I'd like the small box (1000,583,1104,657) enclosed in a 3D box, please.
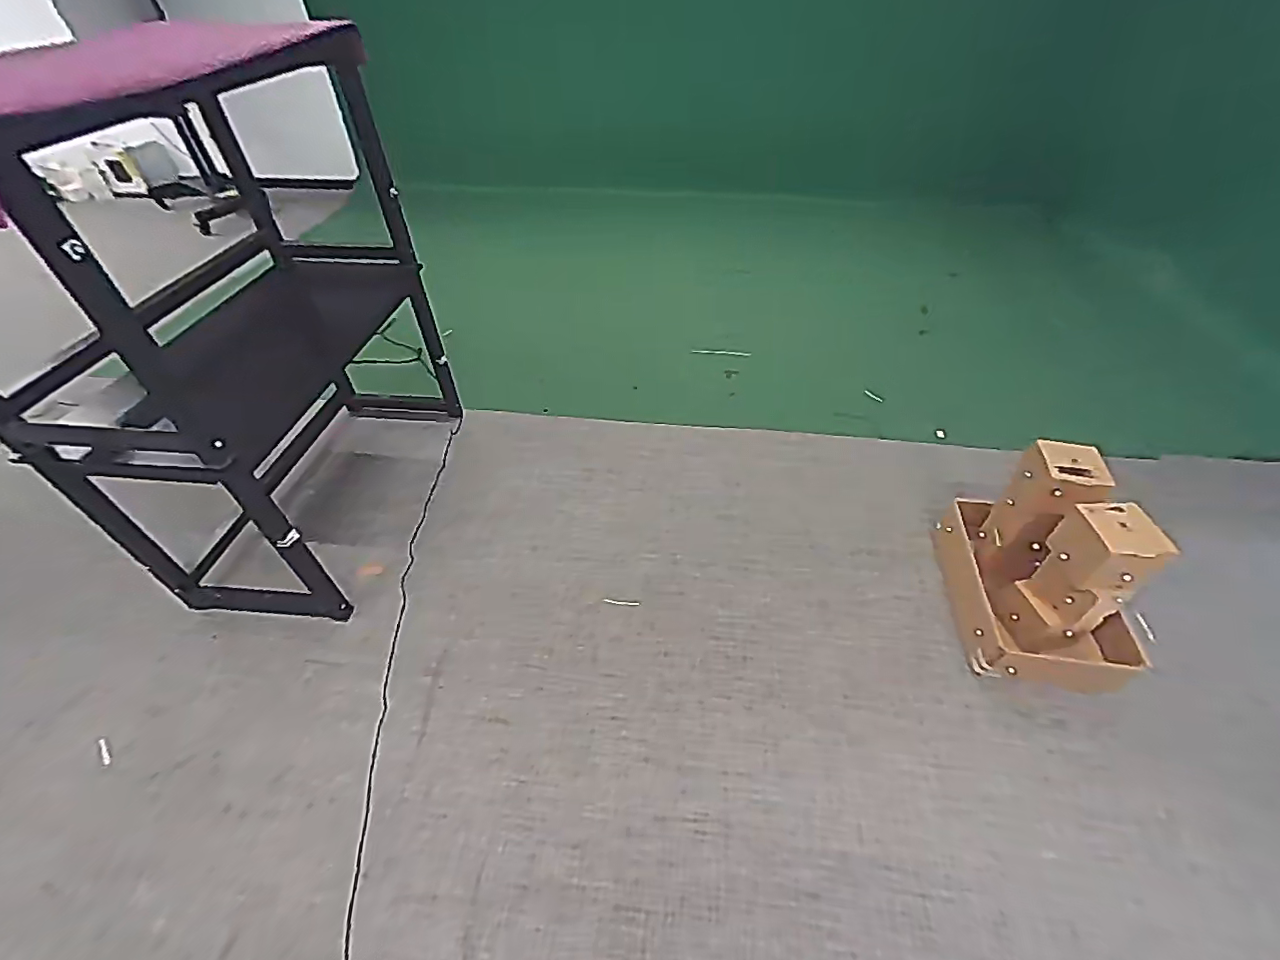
[{"bbox_3d":[1.264,0.434,1.681,0.179,0.176,0.168,-6,44,-5],"label":"small box"}]

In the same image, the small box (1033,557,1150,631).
[{"bbox_3d":[1.293,0.314,1.570,0.179,0.176,0.168,-13,46,-12],"label":"small box"}]

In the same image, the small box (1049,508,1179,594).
[{"bbox_3d":[1.264,0.194,1.460,0.168,0.176,0.179,0,45,2],"label":"small box"}]
